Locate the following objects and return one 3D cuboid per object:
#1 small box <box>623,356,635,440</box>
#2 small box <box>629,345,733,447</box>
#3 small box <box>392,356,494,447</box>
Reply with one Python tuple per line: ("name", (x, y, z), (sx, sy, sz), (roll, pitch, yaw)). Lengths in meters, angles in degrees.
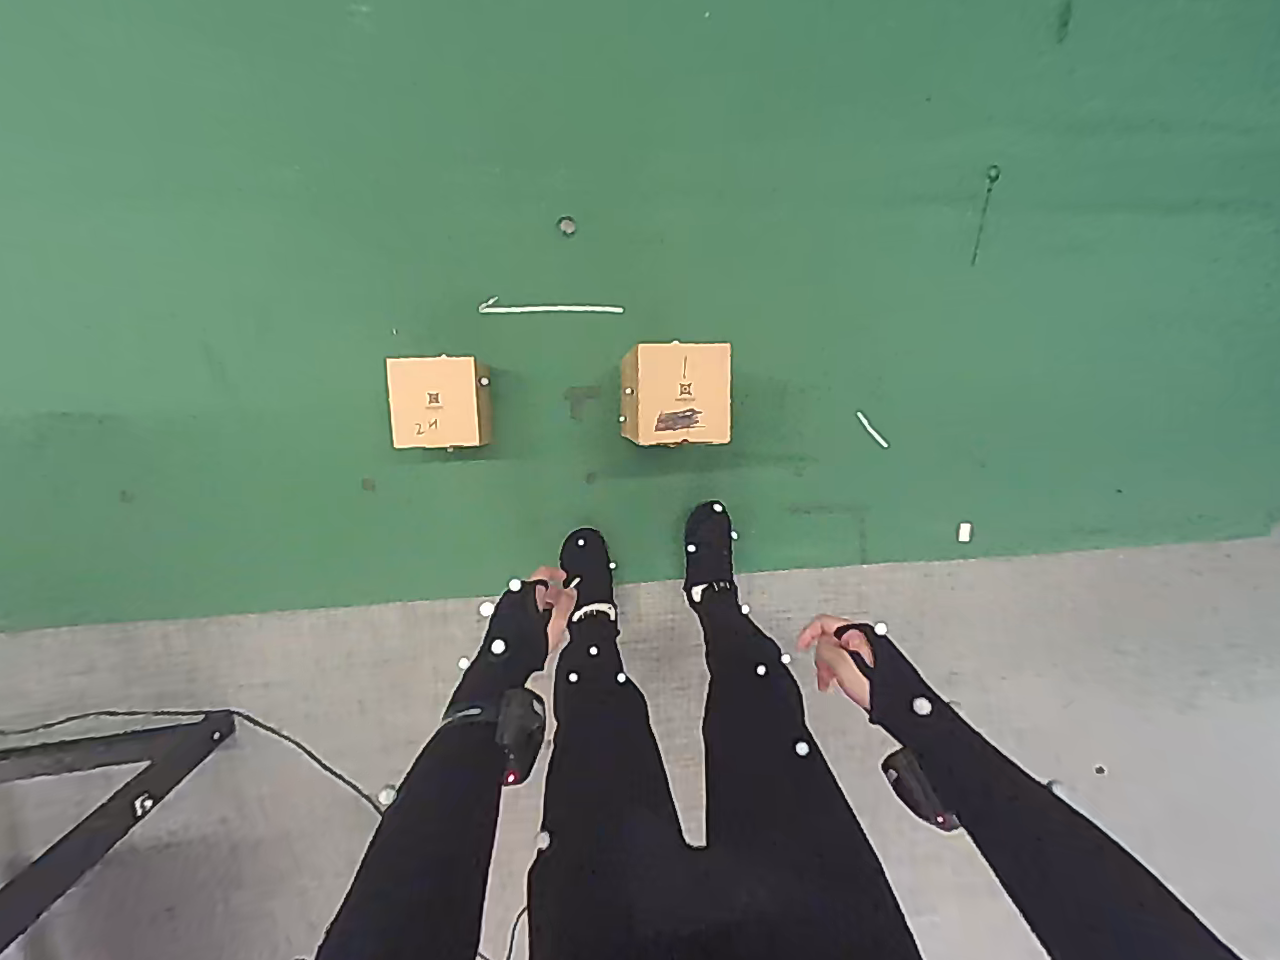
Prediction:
("small box", (0.051, -0.178, 1.182), (0.168, 0.176, 0.179), (-1, 98, -7))
("small box", (0.070, -0.156, 1.021), (0.168, 0.176, 0.179), (-1, 97, -7))
("small box", (-0.404, -0.161, 1.131), (0.168, 0.176, 0.179), (-2, 97, -6))
